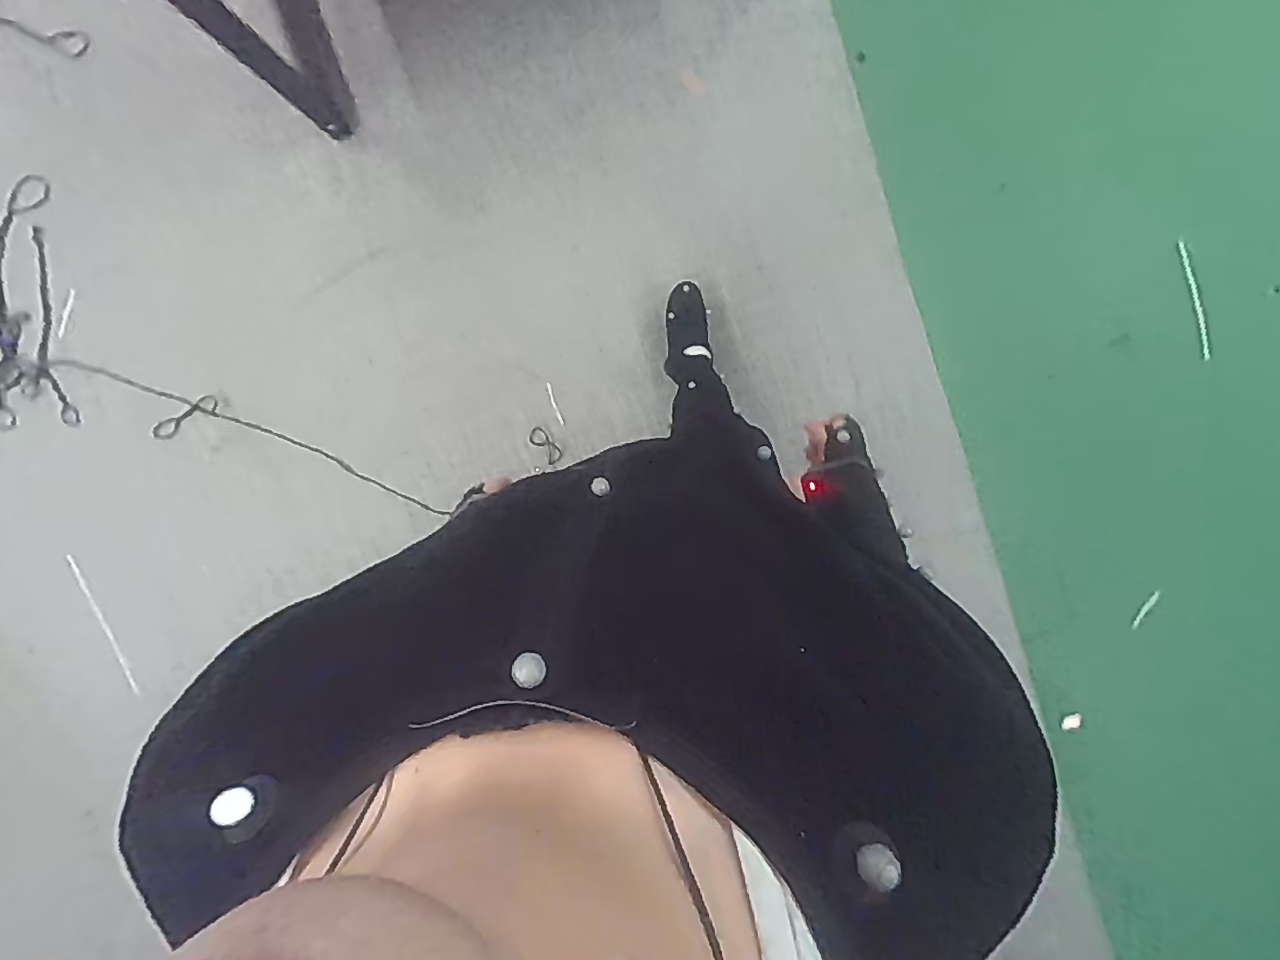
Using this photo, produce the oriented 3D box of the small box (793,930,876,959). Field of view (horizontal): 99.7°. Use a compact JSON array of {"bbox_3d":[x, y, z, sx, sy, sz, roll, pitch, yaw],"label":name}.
[{"bbox_3d":[0.435,1.084,1.101,0.168,0.176,0.179,-22,95,2],"label":"small box"}]
